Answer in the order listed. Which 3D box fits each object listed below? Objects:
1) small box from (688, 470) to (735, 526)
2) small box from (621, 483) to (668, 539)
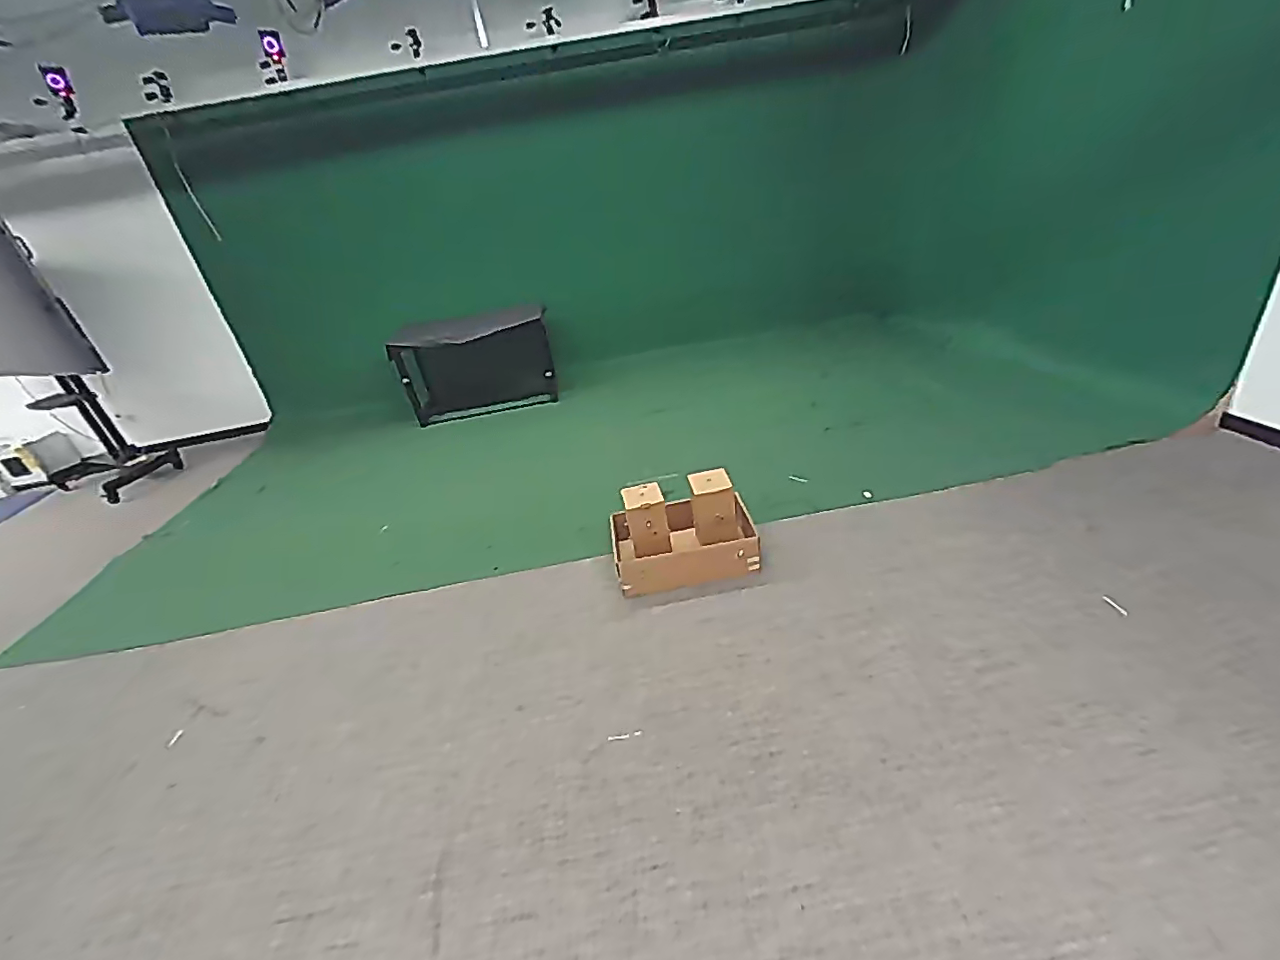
[{"bbox_3d":[0.310,0.079,2.359,0.168,0.176,0.179,-12,31,-1],"label":"small box"},{"bbox_3d":[0.020,0.140,2.344,0.168,0.176,0.179,-12,30,-4],"label":"small box"}]
